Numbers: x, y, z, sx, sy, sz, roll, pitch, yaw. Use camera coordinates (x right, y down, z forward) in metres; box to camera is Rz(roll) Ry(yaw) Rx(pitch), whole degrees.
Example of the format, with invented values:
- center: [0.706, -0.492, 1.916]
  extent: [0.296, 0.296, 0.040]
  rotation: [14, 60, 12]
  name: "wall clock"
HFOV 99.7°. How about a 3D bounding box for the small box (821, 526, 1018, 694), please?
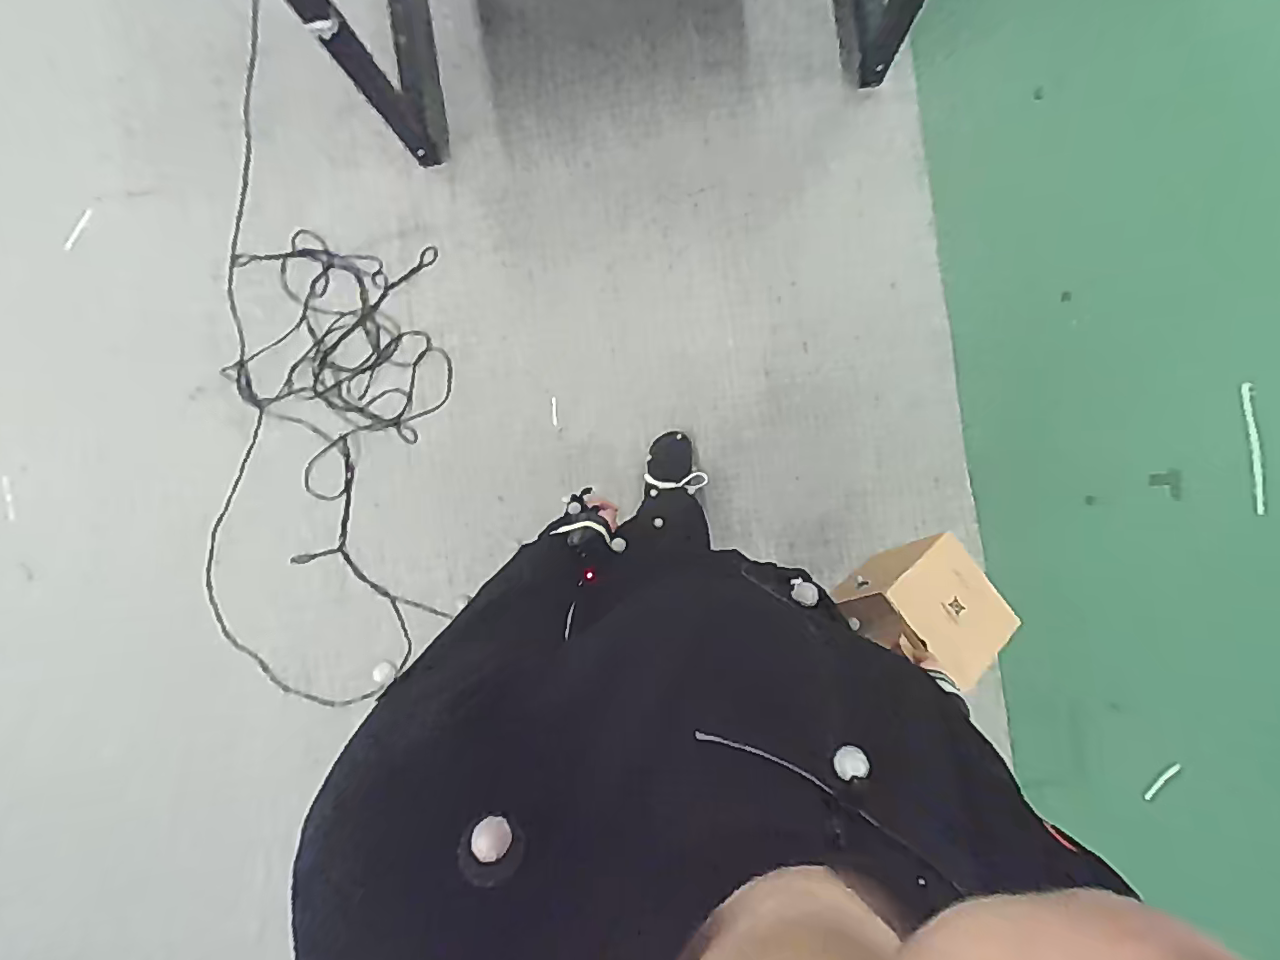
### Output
- center: [0.401, 0.200, 0.807]
  extent: [0.179, 0.176, 0.168]
  rotation: [-31, 82, -29]
  name: "small box"
